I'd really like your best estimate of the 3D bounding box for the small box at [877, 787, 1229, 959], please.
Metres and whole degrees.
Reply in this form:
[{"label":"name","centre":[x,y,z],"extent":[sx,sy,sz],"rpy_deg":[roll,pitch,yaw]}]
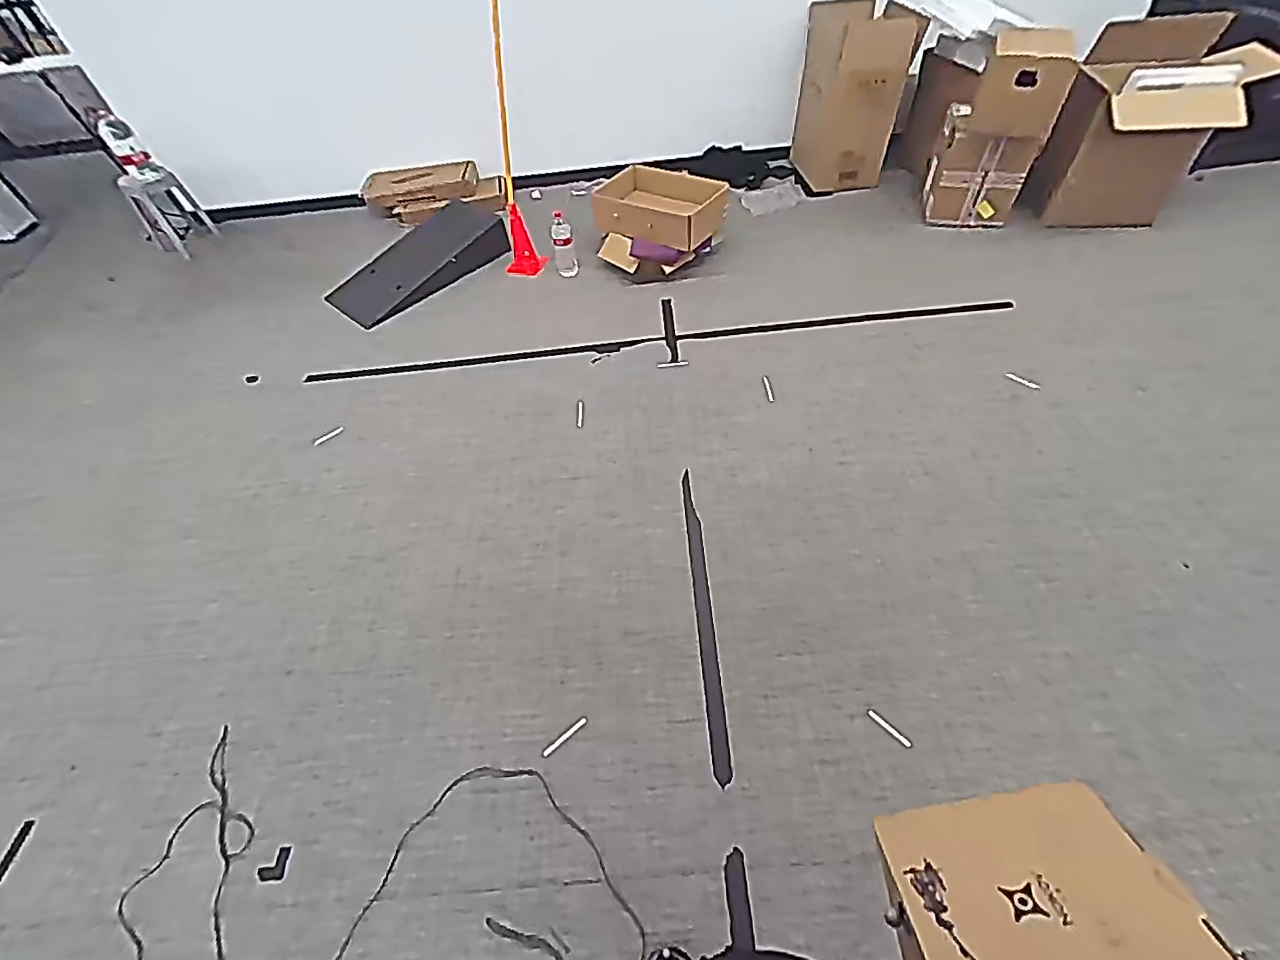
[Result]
[{"label":"small box","centre":[0.306,0.376,0.410],"extent":[0.179,0.176,0.168],"rpy_deg":[-15,16,8]}]
